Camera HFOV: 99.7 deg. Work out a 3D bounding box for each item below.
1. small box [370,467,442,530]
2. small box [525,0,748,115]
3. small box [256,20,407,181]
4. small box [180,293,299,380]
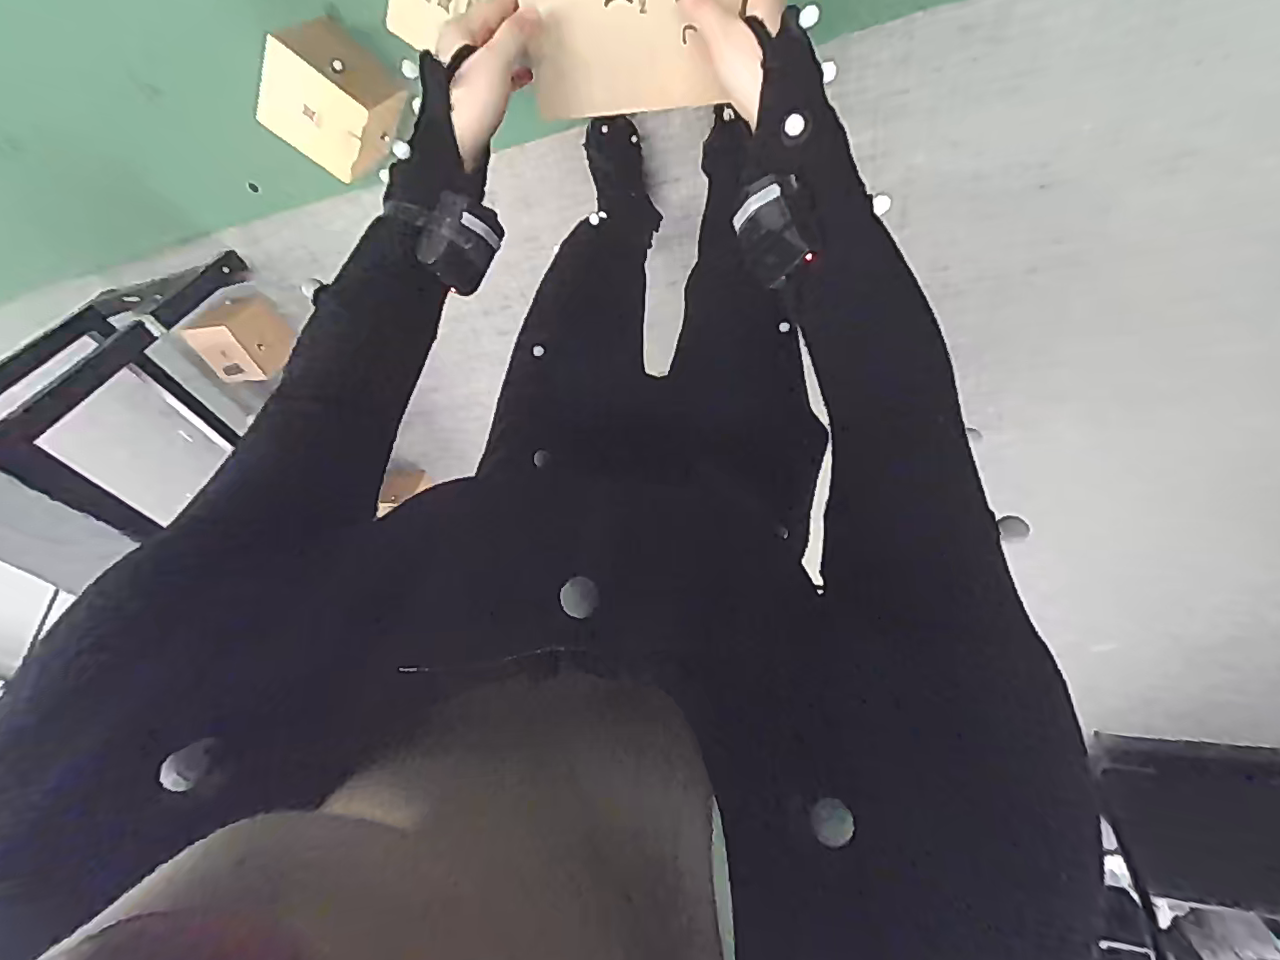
[{"bbox_3d":[-0.889,0.071,2.073,0.168,0.176,0.179,3,141,10],"label":"small box"},{"bbox_3d":[0.001,-0.438,0.460,0.179,0.176,0.168,-2,141,6],"label":"small box"},{"bbox_3d":[-0.580,-0.723,1.026,0.179,0.176,0.168,31,137,-23],"label":"small box"},{"bbox_3d":[-1.132,-0.409,1.547,0.168,0.176,0.179,-1,139,15],"label":"small box"}]
